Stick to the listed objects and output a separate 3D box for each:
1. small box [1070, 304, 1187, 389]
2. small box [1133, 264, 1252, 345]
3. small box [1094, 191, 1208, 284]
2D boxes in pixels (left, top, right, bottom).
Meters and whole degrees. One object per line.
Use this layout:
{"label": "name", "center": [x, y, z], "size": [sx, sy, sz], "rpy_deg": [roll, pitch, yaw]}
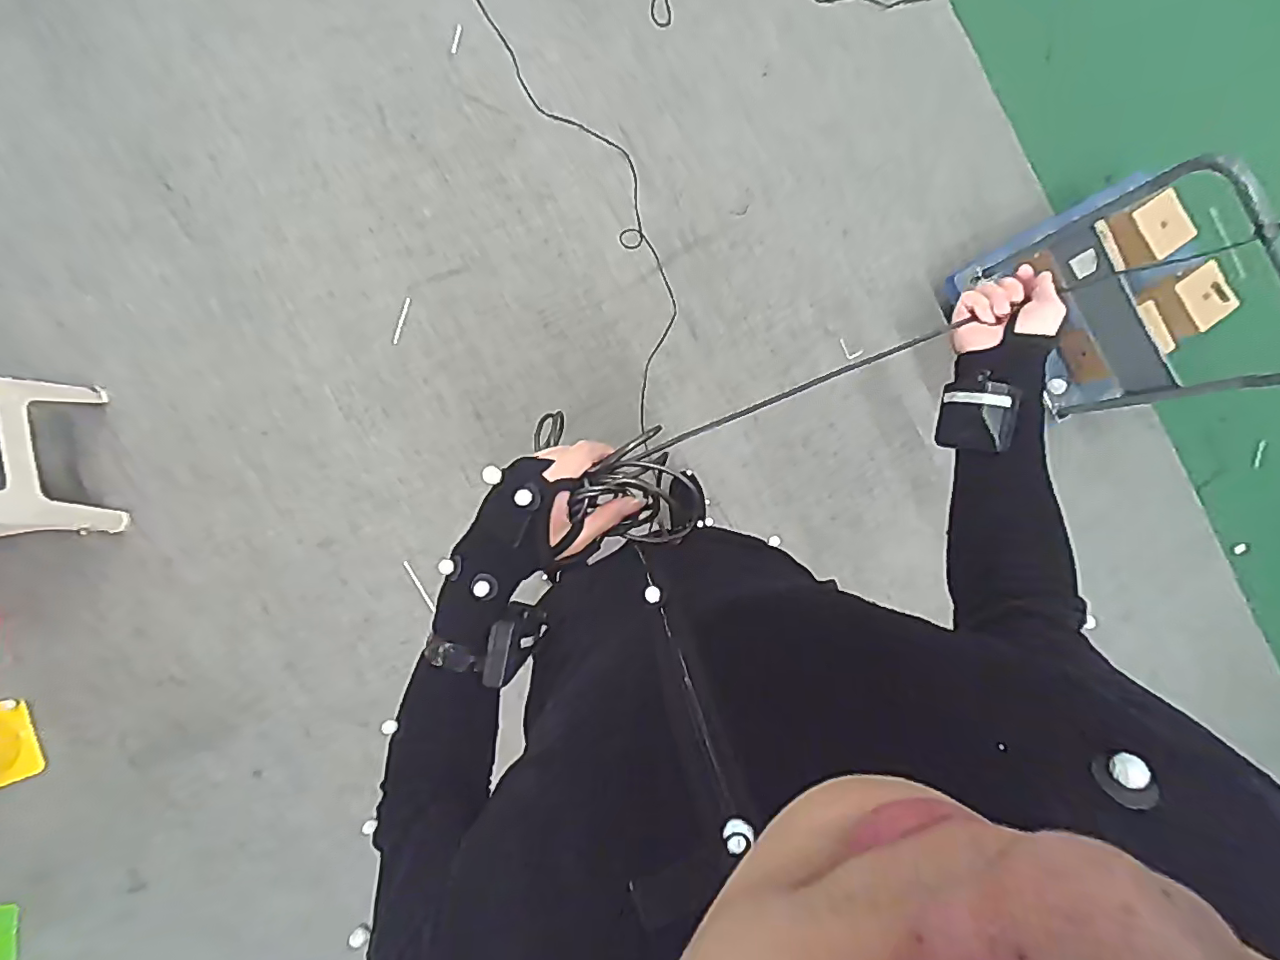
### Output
{"label": "small box", "center": [1.459, -0.395, 1.626], "size": [0.179, 0.176, 0.168], "rpy_deg": [-28, 91, -8]}
{"label": "small box", "center": [1.692, -0.526, 1.667], "size": [0.179, 0.176, 0.168], "rpy_deg": [-33, 91, -8]}
{"label": "small box", "center": [1.554, -0.736, 1.662], "size": [0.179, 0.176, 0.168], "rpy_deg": [-33, 92, -9]}
